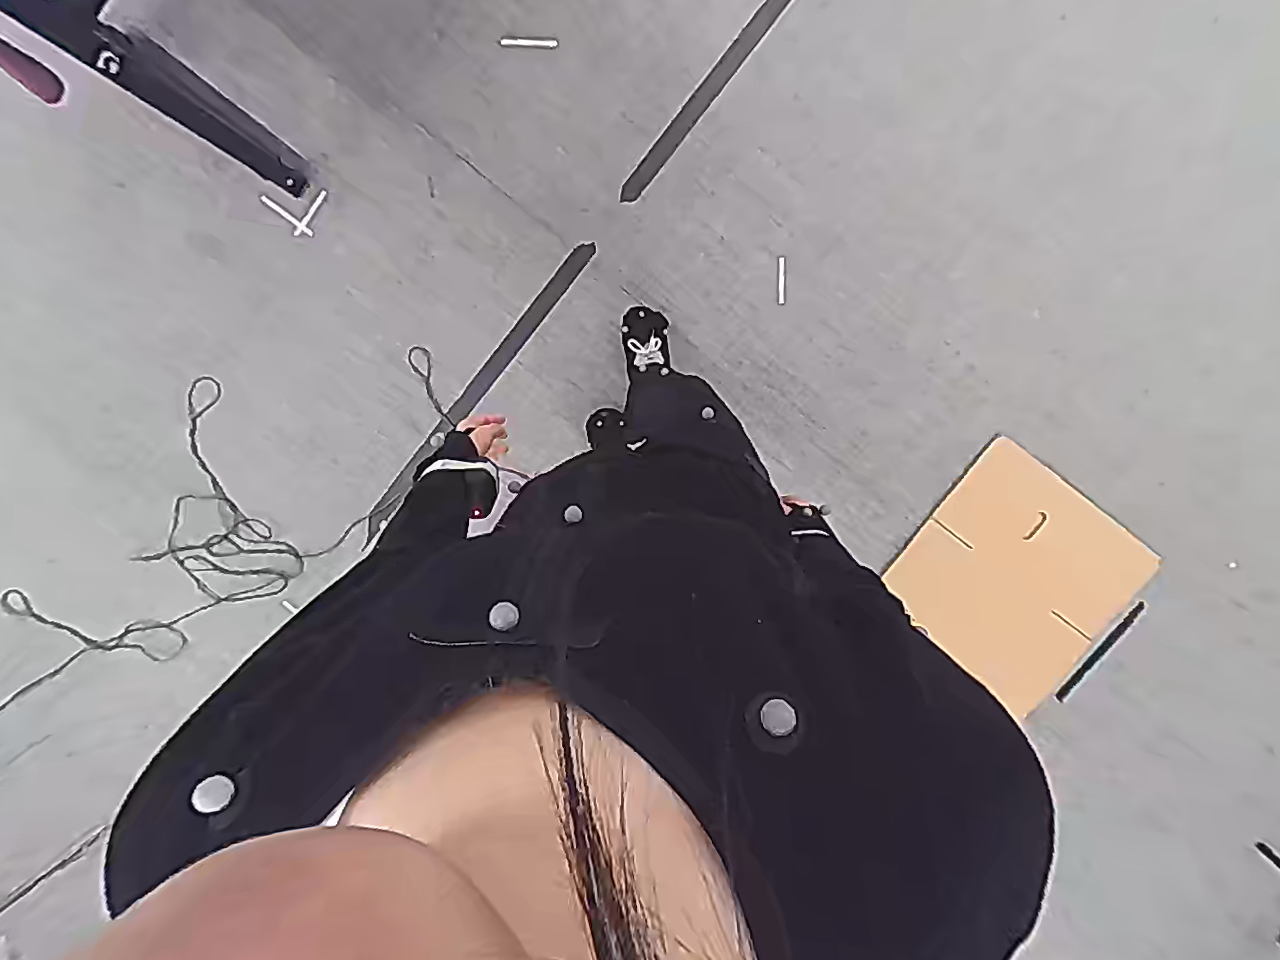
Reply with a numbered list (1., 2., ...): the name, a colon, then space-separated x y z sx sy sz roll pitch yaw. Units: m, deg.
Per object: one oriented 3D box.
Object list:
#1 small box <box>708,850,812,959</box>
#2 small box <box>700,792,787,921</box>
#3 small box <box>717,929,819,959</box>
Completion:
1. small box: 0.223 0.855 1.038 0.168 0.176 0.179 -2 98 0
2. small box: 0.224 0.831 1.200 0.168 0.176 0.179 -3 97 0
3. small box: 0.219 0.874 0.876 0.168 0.176 0.179 -3 98 0
